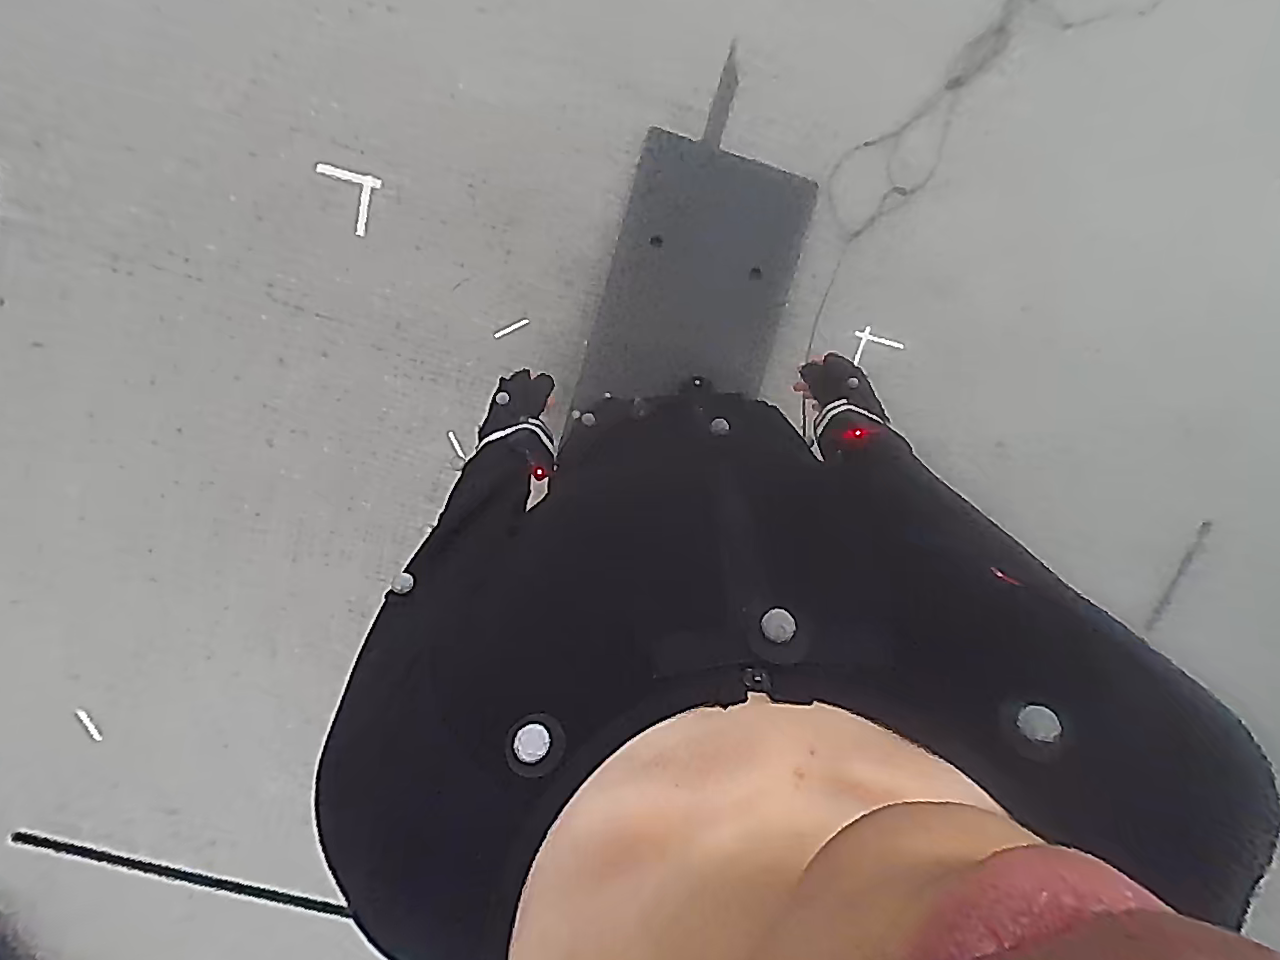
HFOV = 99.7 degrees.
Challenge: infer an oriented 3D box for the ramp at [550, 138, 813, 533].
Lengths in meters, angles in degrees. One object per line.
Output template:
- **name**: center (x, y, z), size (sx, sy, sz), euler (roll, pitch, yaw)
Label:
- **ramp**: center (0.116, -0.391, 1.489), size (0.509, 0.206, 0.991), euler (14, 101, -2)
